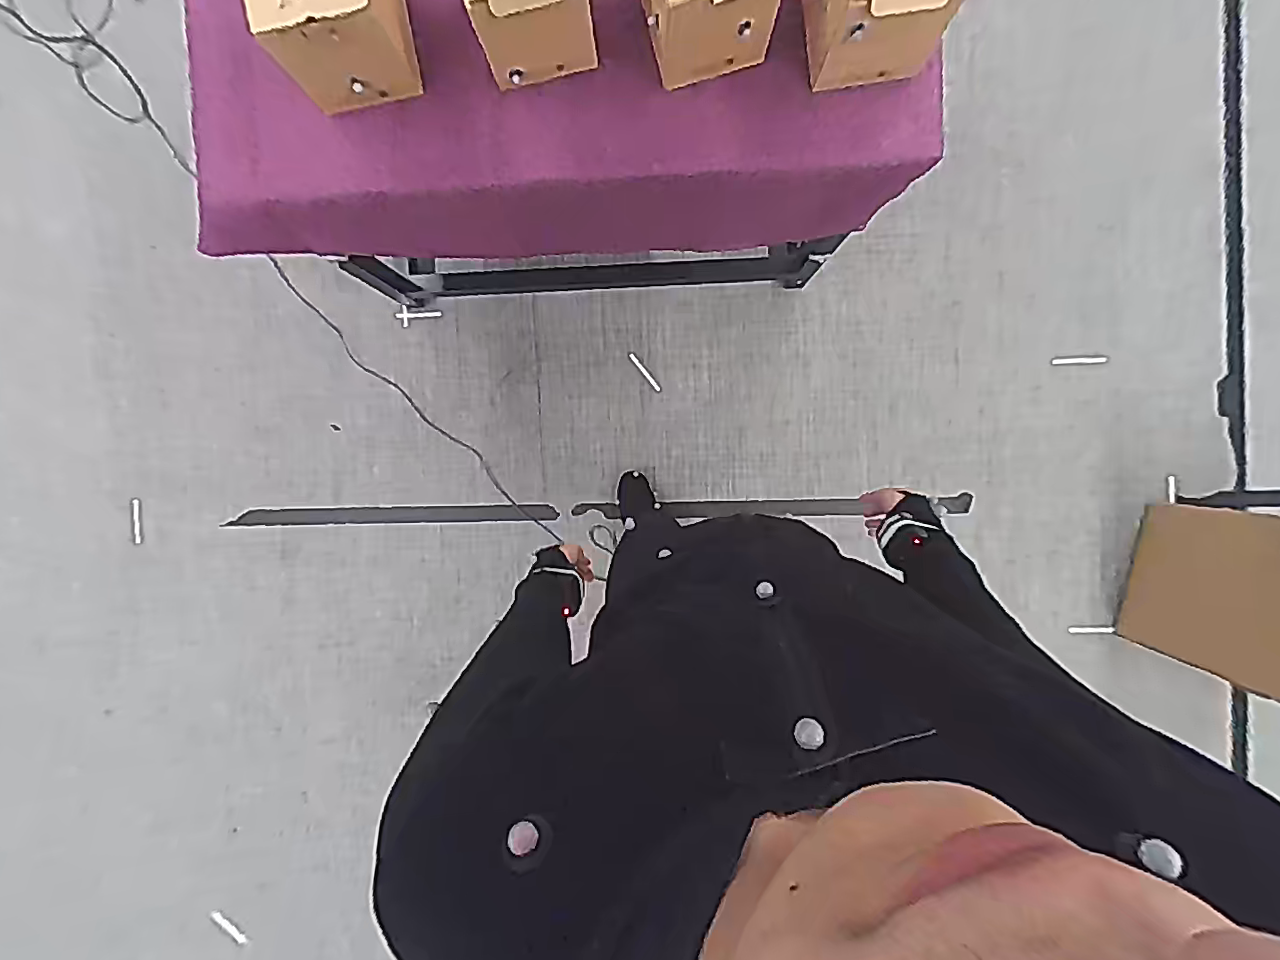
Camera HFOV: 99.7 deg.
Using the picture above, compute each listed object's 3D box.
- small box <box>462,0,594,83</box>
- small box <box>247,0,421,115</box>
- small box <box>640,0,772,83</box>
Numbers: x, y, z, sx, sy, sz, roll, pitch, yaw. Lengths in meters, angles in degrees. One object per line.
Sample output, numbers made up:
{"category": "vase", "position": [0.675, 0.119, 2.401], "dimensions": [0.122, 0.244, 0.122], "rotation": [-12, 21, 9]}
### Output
{"category": "small box", "position": [-0.170, -0.727, 0.795], "dimensions": [0.168, 0.176, 0.179], "rotation": [-13, 91, 2]}
{"category": "small box", "position": [-0.450, -0.693, 0.802], "dimensions": [0.168, 0.176, 0.179], "rotation": [-11, 92, 2]}
{"category": "small box", "position": [0.093, -0.726, 0.790], "dimensions": [0.168, 0.176, 0.179], "rotation": [-15, 91, 2]}
